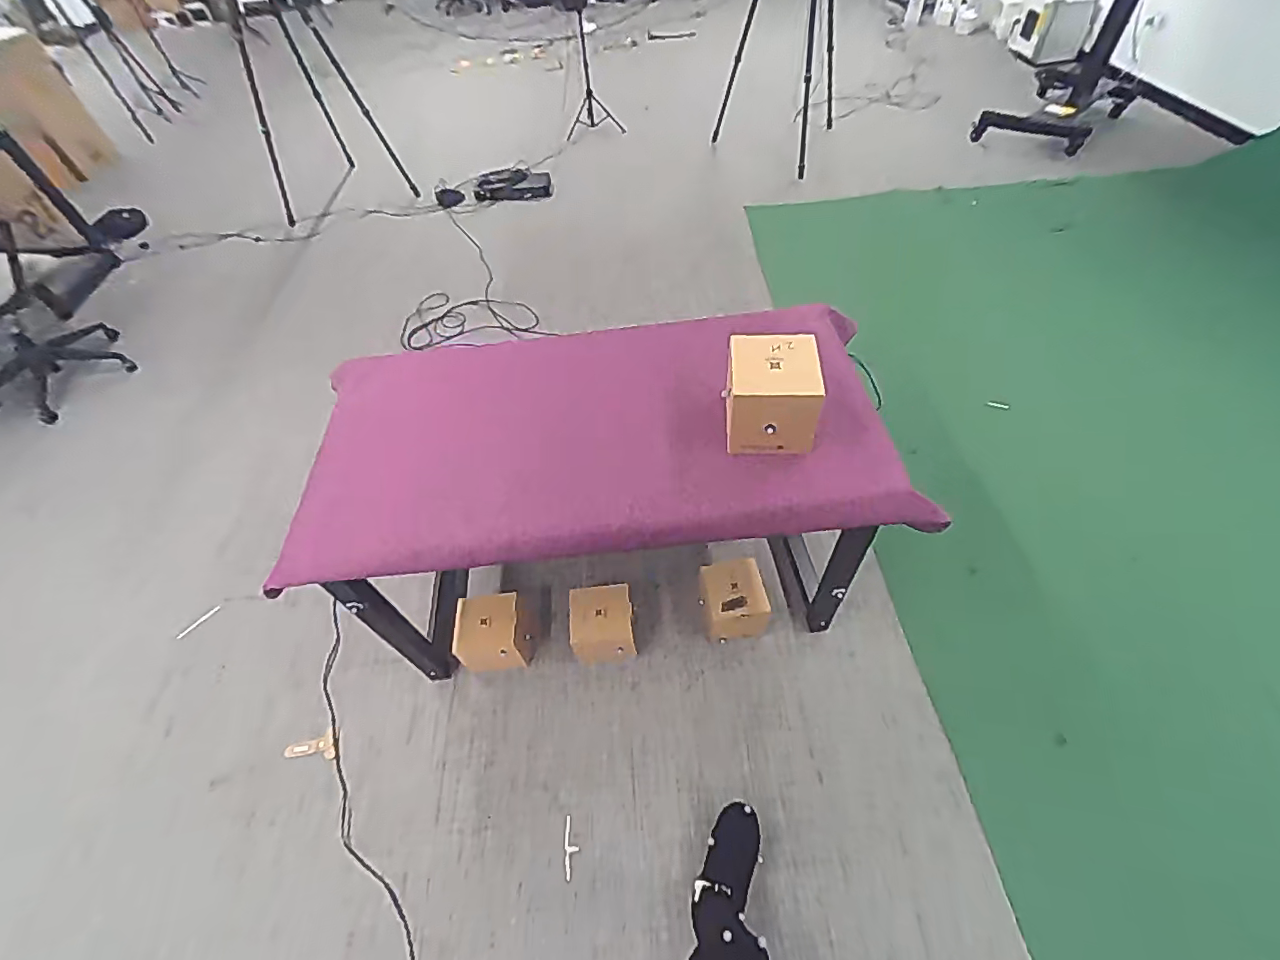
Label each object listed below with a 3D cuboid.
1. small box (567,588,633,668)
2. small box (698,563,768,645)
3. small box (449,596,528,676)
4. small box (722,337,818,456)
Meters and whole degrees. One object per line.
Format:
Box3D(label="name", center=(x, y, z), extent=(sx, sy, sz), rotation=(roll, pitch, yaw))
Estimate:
Box3D(label="small box", center=(-0.112, 0.434, 1.573), extent=(0.179, 0.176, 0.168), rotation=(-7, 51, 1))
Box3D(label="small box", center=(0.267, 0.370, 1.587), extent=(0.168, 0.176, 0.179), rotation=(-9, 51, -2))
Box3D(label="small box", center=(-0.436, 0.461, 1.581), extent=(0.179, 0.176, 0.168), rotation=(-7, 51, -1))
Box3D(label="small box", center=(0.253, -0.163, 1.082), extent=(0.168, 0.176, 0.179), rotation=(1, 52, 6))
